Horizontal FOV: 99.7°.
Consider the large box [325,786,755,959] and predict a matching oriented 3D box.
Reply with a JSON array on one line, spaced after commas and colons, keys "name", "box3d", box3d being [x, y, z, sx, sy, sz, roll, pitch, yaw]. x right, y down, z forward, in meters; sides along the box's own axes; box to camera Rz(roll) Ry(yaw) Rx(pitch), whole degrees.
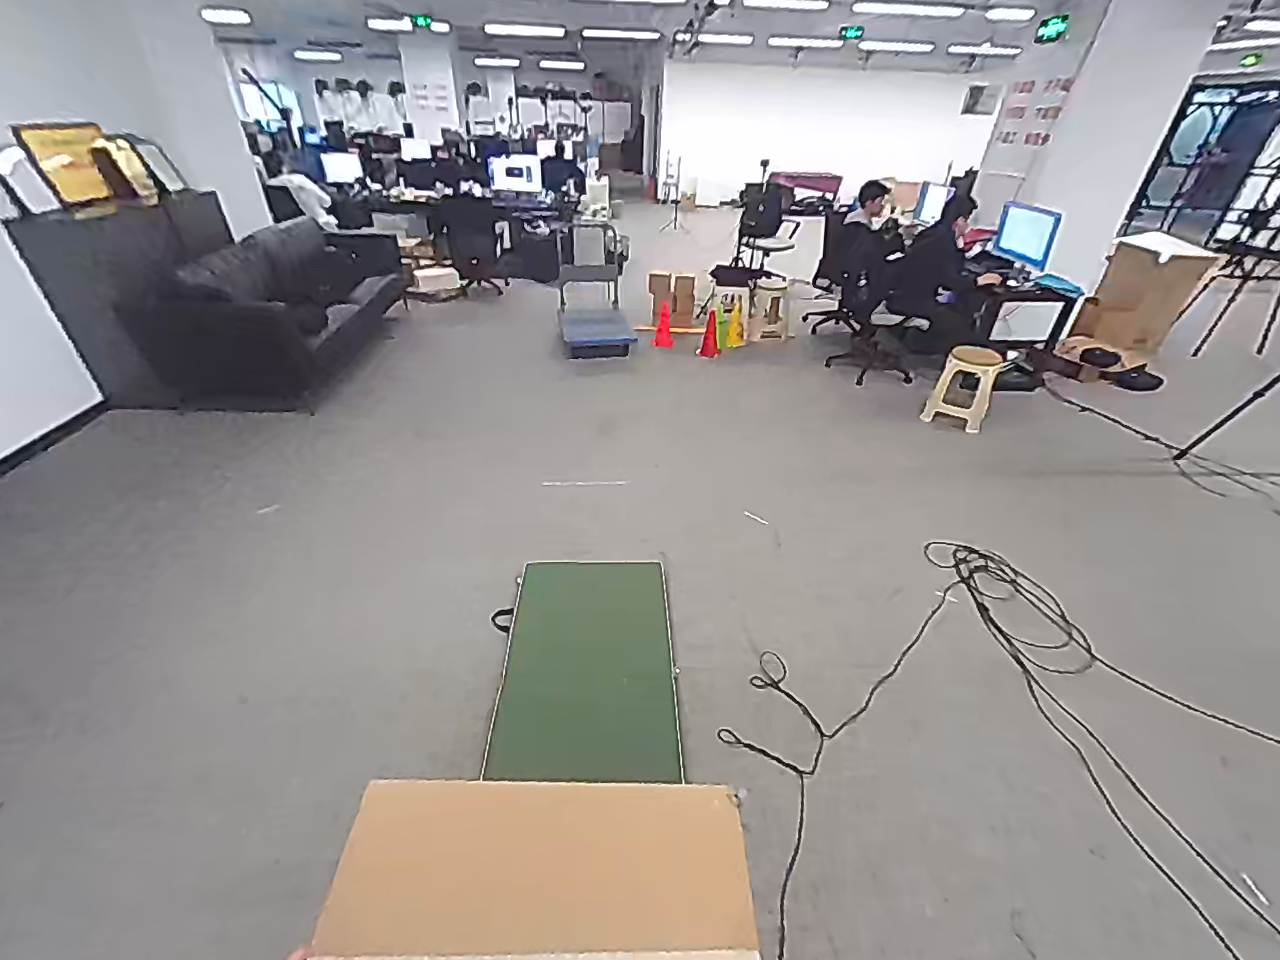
[{"name": "large box", "box3d": [-0.103, 0.560, 0.587, 0.408, 0.320, 0.320, 3, 39, -5]}]
